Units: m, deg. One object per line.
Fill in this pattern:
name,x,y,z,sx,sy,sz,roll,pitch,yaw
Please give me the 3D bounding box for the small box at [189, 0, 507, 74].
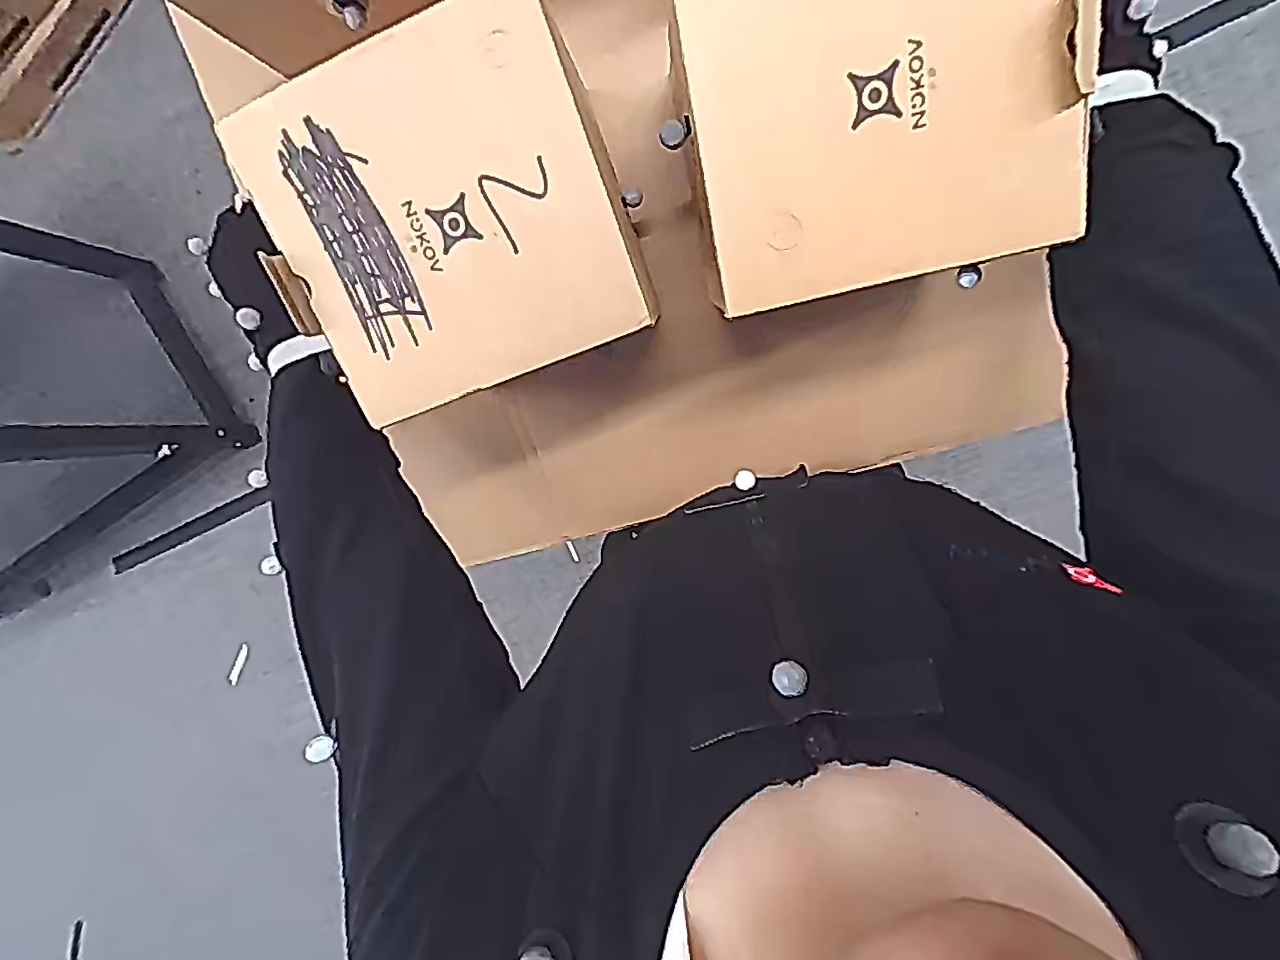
small box,-0.194,-0.370,0.300,0.168,0.176,0.179,-15,102,9
